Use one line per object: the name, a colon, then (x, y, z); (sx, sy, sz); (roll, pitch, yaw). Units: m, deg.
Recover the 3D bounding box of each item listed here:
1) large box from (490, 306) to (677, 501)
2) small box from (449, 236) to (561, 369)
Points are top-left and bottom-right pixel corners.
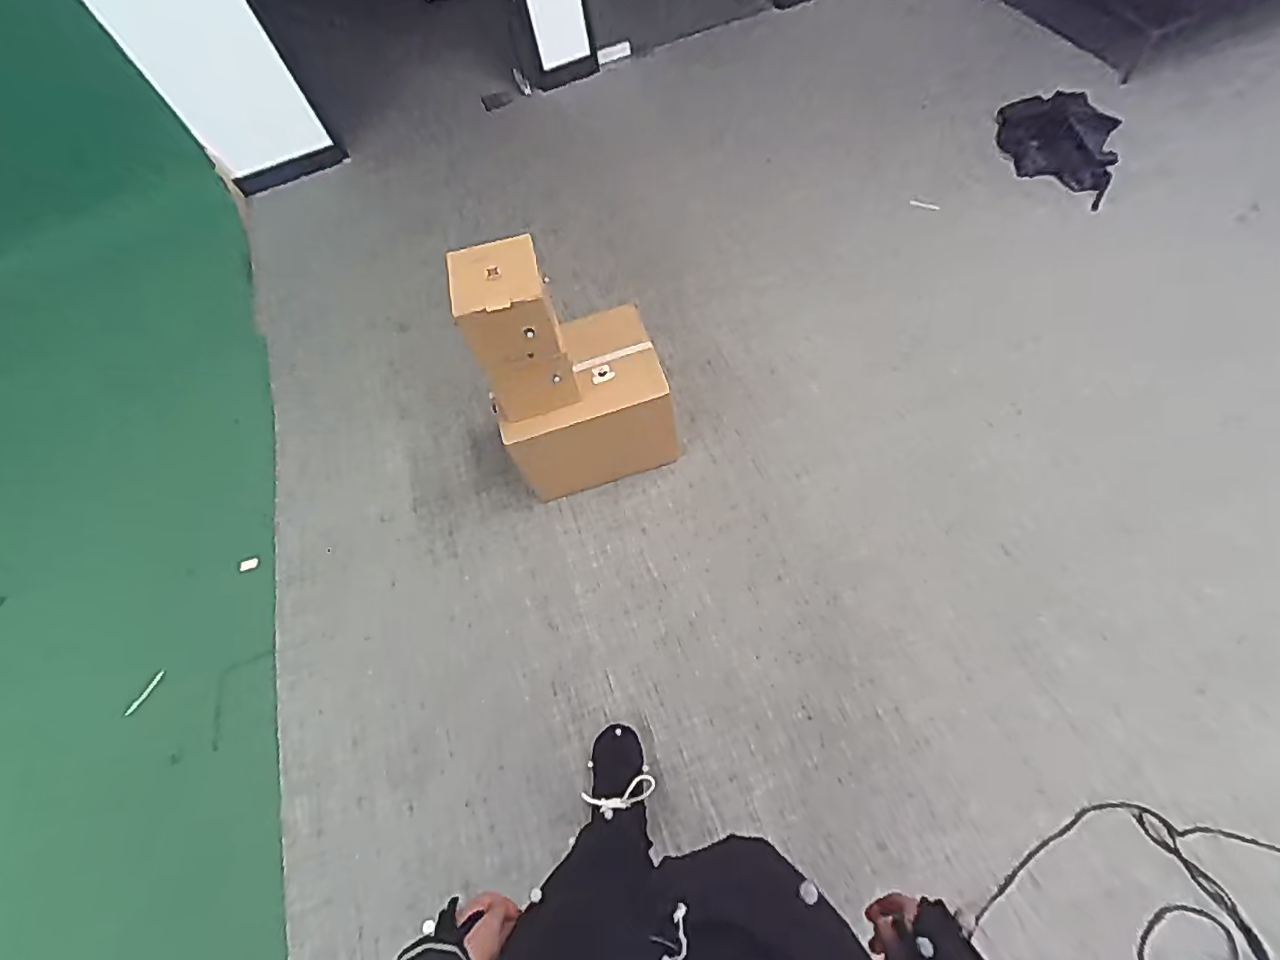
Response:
large box: (-0.142, -0.191, 1.434); (0.408, 0.320, 0.320); (-17, 62, -3)
small box: (-0.260, -0.339, 1.064); (0.168, 0.176, 0.179); (-14, 60, -3)
